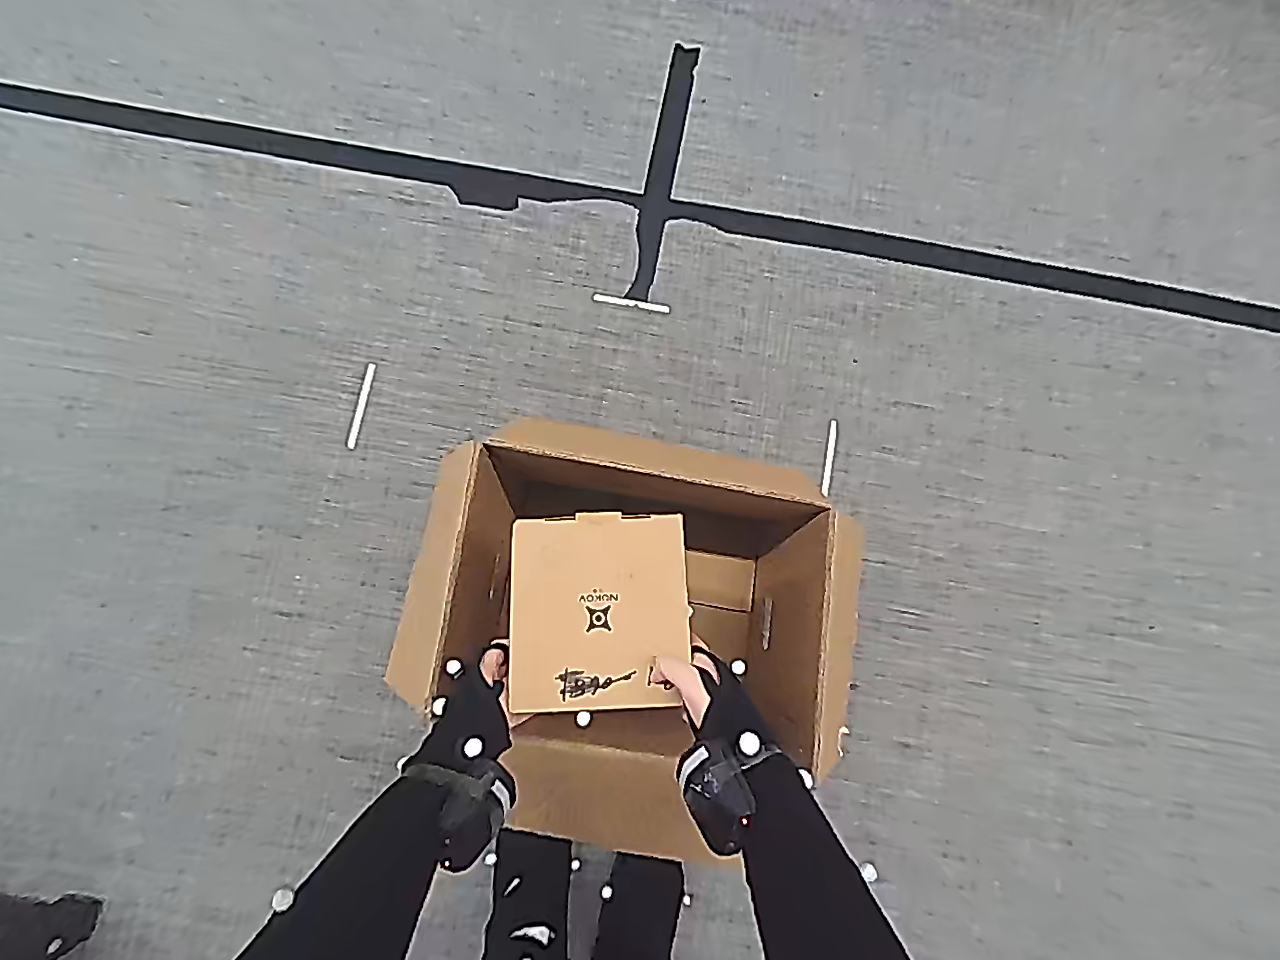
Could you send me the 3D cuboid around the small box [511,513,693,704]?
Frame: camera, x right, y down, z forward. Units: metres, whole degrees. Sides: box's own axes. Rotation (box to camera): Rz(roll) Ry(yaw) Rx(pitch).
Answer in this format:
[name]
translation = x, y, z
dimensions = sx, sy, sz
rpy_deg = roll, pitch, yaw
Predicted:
[small box]
translation = -0.037, 0.141, 0.583
dimensions = 0.168, 0.176, 0.179
rpy_deg = -1, 73, -1
